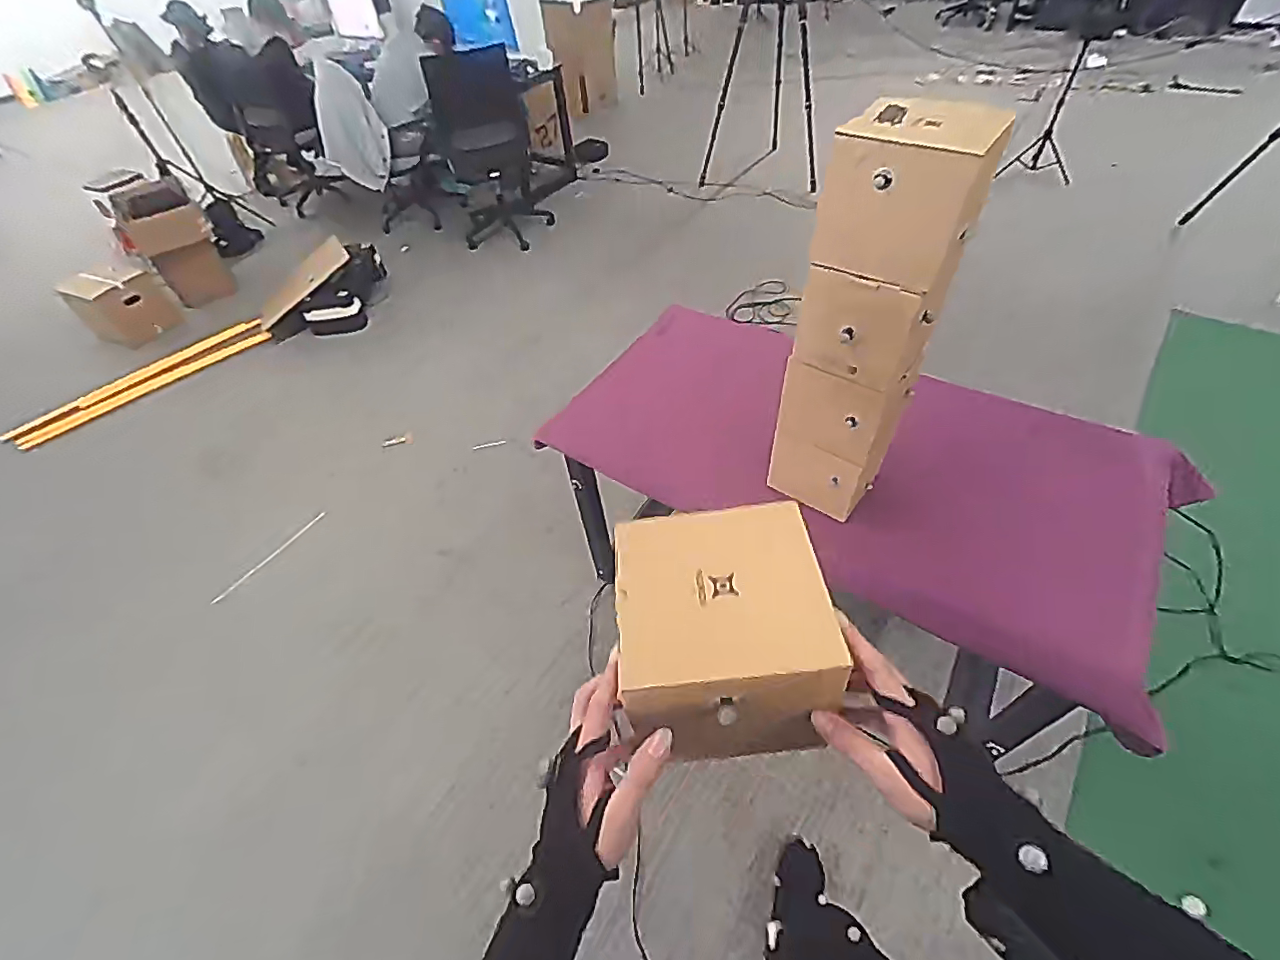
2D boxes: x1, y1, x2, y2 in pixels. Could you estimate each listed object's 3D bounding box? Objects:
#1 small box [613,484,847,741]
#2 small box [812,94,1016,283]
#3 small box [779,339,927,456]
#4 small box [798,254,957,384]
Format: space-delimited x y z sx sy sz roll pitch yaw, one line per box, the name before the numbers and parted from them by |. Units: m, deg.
small box | 0.075 0.129 0.510 0.179 0.176 0.168 -9 45 5
small box | 0.352 -0.388 0.722 0.179 0.176 0.168 28 57 25
small box | 0.371 -0.169 0.965 0.179 0.176 0.168 29 58 27
small box | 0.363 -0.279 0.846 0.168 0.176 0.179 30 58 26
